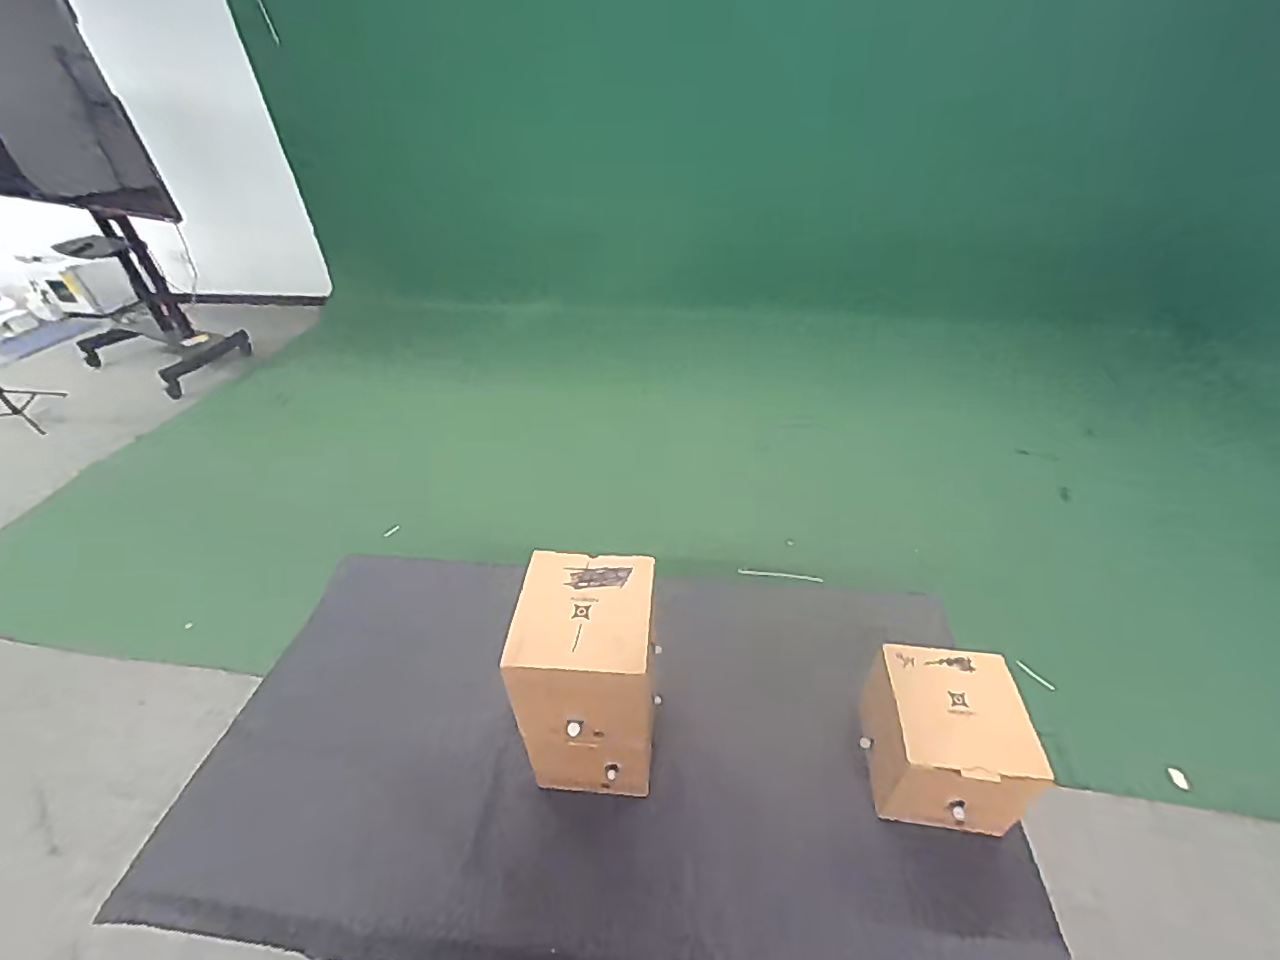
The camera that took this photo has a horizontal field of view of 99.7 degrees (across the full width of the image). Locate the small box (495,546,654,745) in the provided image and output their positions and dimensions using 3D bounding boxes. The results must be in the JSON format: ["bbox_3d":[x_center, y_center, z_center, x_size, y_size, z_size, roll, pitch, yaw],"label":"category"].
[{"bbox_3d":[-0.071,0.209,0.695,0.168,0.176,0.179,3,40,4],"label":"small box"}]

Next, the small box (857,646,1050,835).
[{"bbox_3d":[0.412,0.360,0.748,0.168,0.176,0.179,5,39,8],"label":"small box"}]

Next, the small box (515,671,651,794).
[{"bbox_3d":[-0.071,0.336,0.799,0.168,0.176,0.179,4,37,4],"label":"small box"}]
